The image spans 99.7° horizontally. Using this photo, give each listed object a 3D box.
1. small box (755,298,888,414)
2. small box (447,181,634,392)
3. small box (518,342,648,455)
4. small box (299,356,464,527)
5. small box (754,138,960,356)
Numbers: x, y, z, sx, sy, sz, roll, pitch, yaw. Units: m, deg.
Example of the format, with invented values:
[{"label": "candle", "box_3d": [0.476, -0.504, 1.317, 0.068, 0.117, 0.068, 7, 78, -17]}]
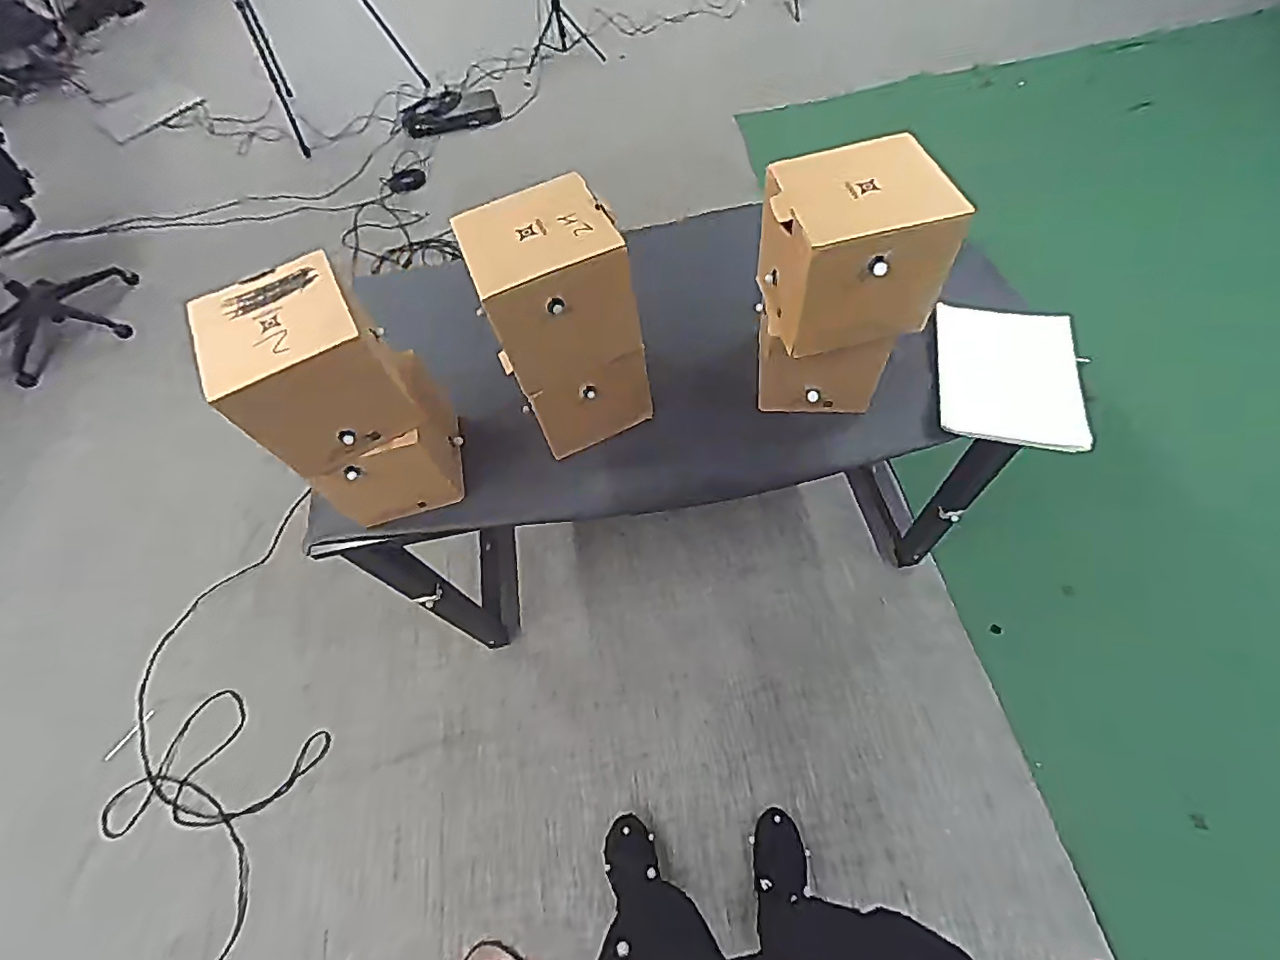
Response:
[{"label": "small box", "box_3d": [0.265, -0.223, 0.830, 0.168, 0.176, 0.179, 2, 61, 10]}, {"label": "small box", "box_3d": [-0.122, -0.245, 0.711, 0.179, 0.176, 0.168, -23, 60, -6]}, {"label": "small box", "box_3d": [-0.102, -0.167, 0.855, 0.179, 0.176, 0.168, -26, 61, -7]}, {"label": "small box", "box_3d": [-0.383, -0.054, 0.828, 0.168, 0.176, 0.179, -16, 60, -2]}, {"label": "small box", "box_3d": [0.251, -0.283, 0.678, 0.179, 0.176, 0.168, -13, 59, 2]}]
